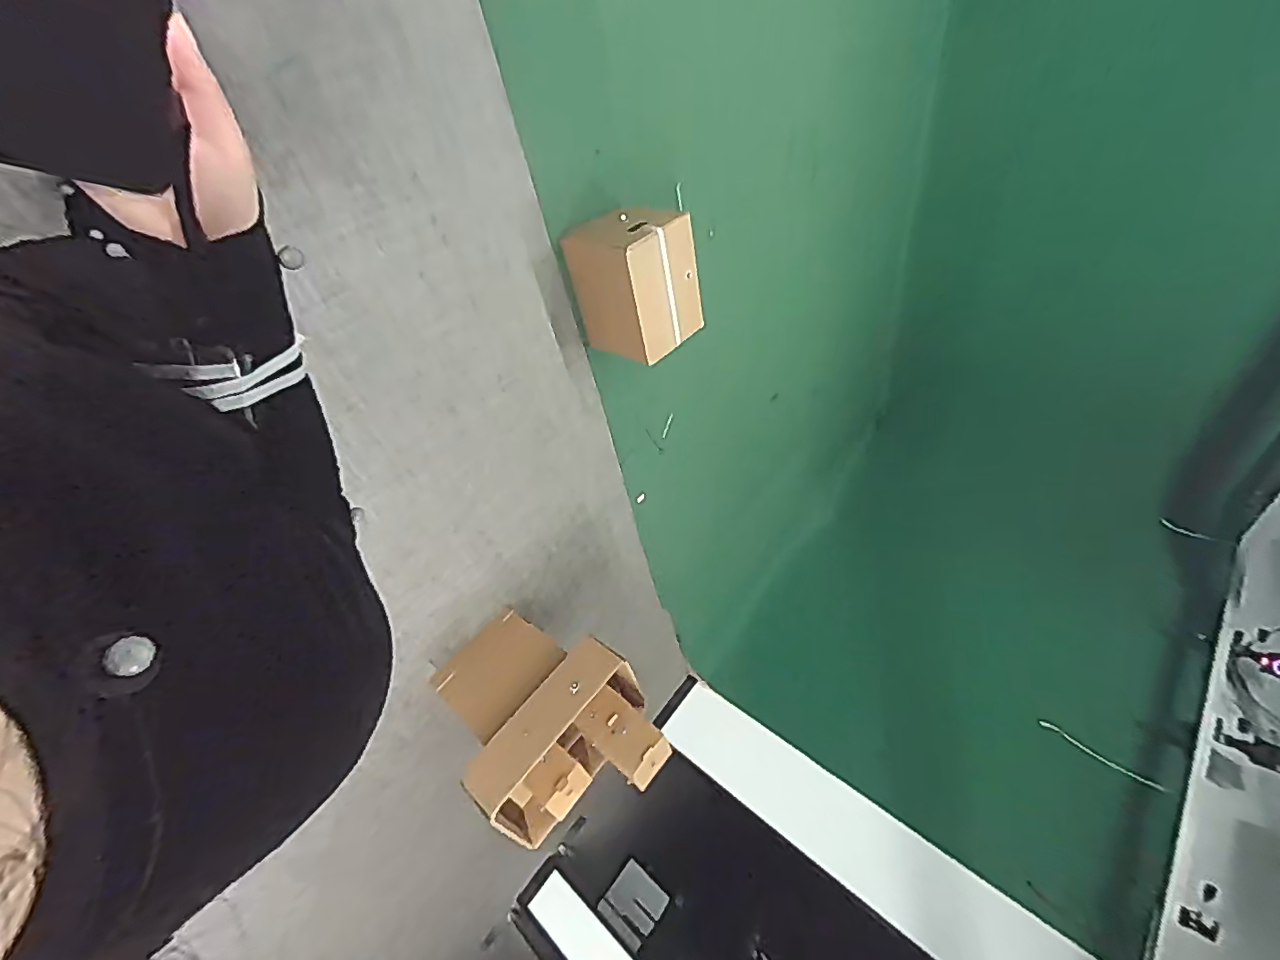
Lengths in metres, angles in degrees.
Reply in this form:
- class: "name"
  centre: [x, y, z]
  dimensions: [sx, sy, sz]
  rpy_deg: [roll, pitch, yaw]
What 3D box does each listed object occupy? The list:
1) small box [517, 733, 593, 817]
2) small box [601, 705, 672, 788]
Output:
- class: "small box"
  centre: [-0.294, 1.014, 1.870]
  dimensions: [0.168, 0.176, 0.179]
  rpy_deg: [-45, 139, -26]
- class: "small box"
  centre: [-0.012, 0.923, 1.885]
  dimensions: [0.168, 0.176, 0.179]
  rpy_deg: [-43, 139, -26]
